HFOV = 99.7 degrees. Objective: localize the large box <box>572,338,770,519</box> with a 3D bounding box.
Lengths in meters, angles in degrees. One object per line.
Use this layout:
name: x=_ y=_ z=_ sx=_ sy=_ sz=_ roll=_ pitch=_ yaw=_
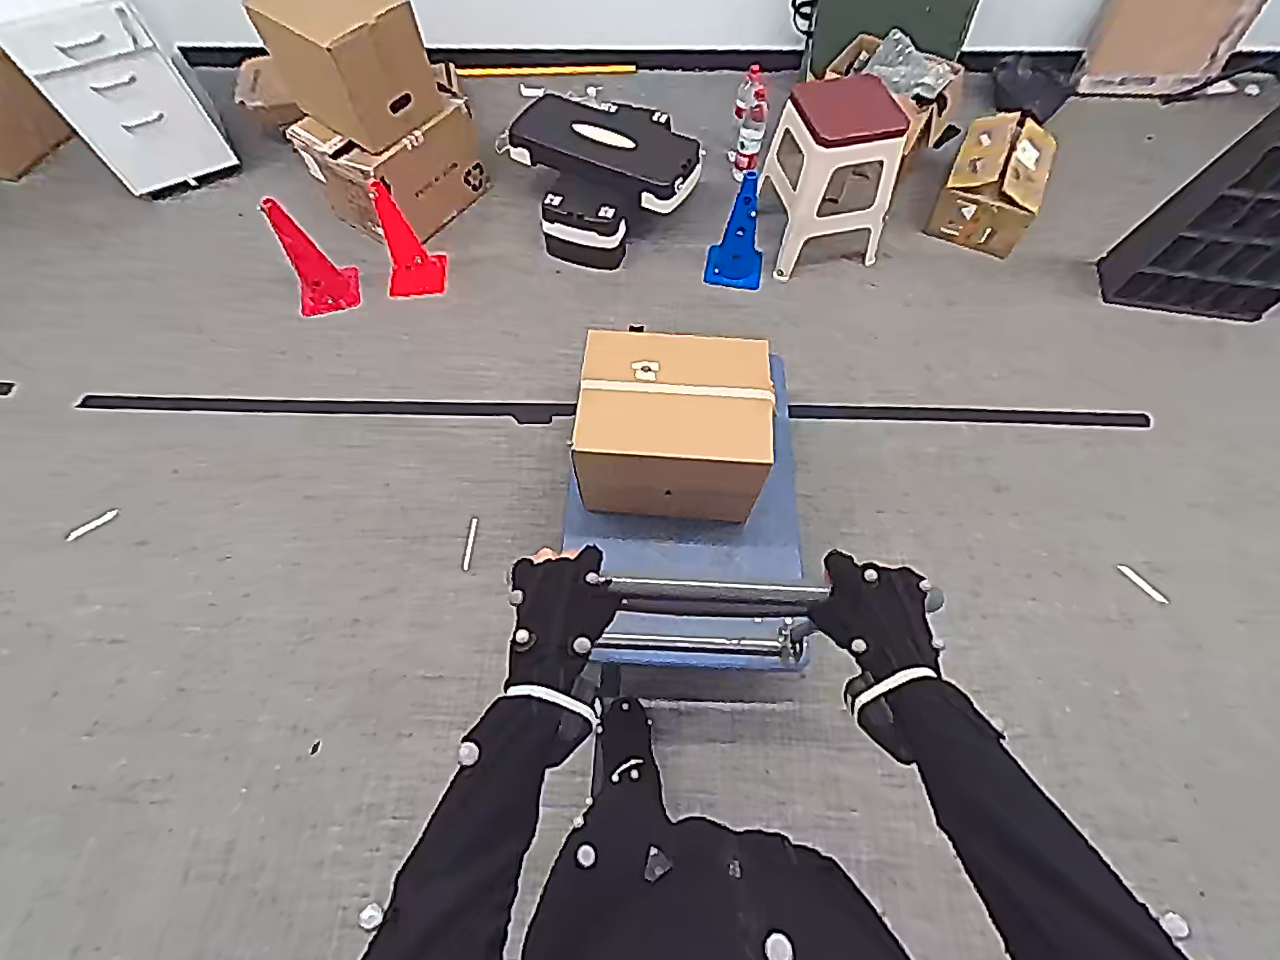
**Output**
large box: x=0.073 y=-0.109 z=1.275 sx=0.408 sy=0.320 sz=0.320 roll=3 pitch=64 yaw=3
